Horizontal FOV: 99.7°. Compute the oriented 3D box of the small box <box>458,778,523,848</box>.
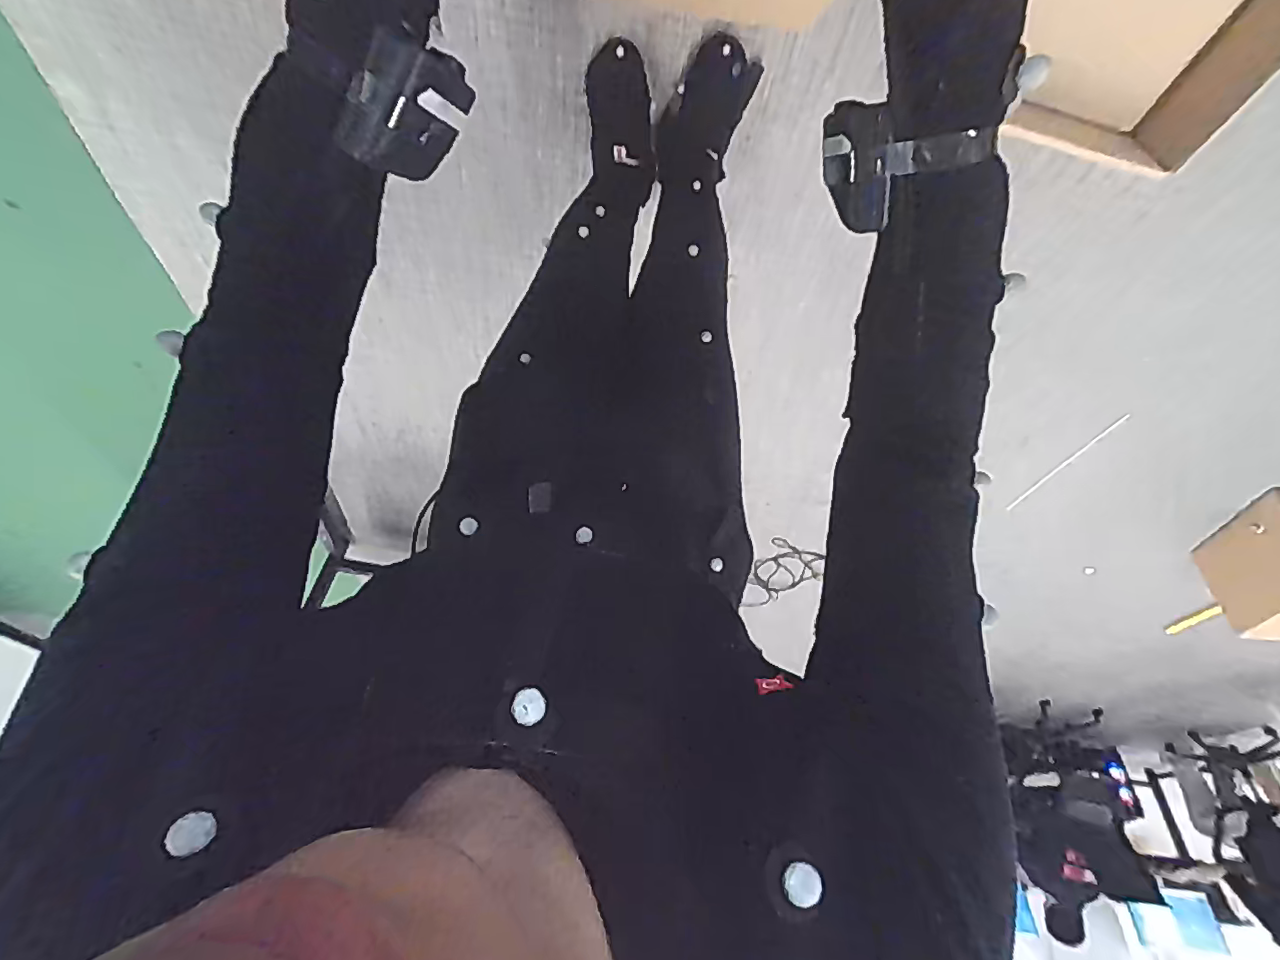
[{"bbox_3d":[-0.483,1.083,1.757,0.168,0.176,0.179,14,142,-8],"label":"small box"}]
